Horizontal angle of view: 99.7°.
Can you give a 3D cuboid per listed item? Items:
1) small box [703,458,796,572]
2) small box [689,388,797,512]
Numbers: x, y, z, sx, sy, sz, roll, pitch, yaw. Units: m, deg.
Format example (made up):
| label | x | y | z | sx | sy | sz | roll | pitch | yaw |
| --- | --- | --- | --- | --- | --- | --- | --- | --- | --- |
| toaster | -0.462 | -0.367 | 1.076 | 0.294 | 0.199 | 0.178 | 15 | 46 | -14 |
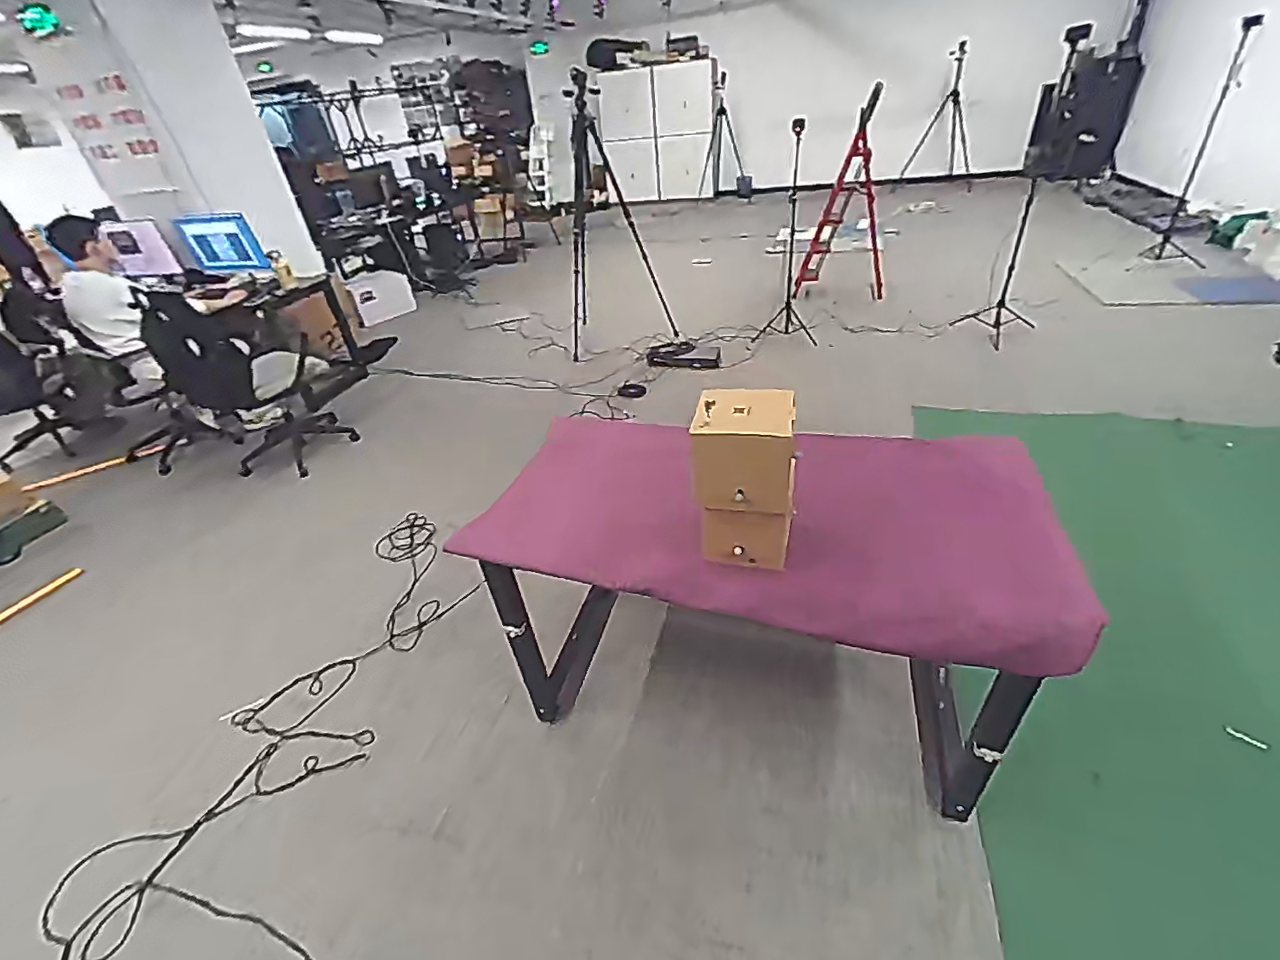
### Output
| label | x | y | z | sx | sy | sz | roll | pitch | yaw |
| --- | --- | --- | --- | --- | --- | --- | --- | --- | --- |
| small box | 0.227 | 0.062 | 1.120 | 0.168 | 0.176 | 0.179 | 6 | 37 | 18 |
| small box | 0.194 | -0.056 | 1.008 | 0.179 | 0.176 | 0.168 | 4 | 37 | 16 |
